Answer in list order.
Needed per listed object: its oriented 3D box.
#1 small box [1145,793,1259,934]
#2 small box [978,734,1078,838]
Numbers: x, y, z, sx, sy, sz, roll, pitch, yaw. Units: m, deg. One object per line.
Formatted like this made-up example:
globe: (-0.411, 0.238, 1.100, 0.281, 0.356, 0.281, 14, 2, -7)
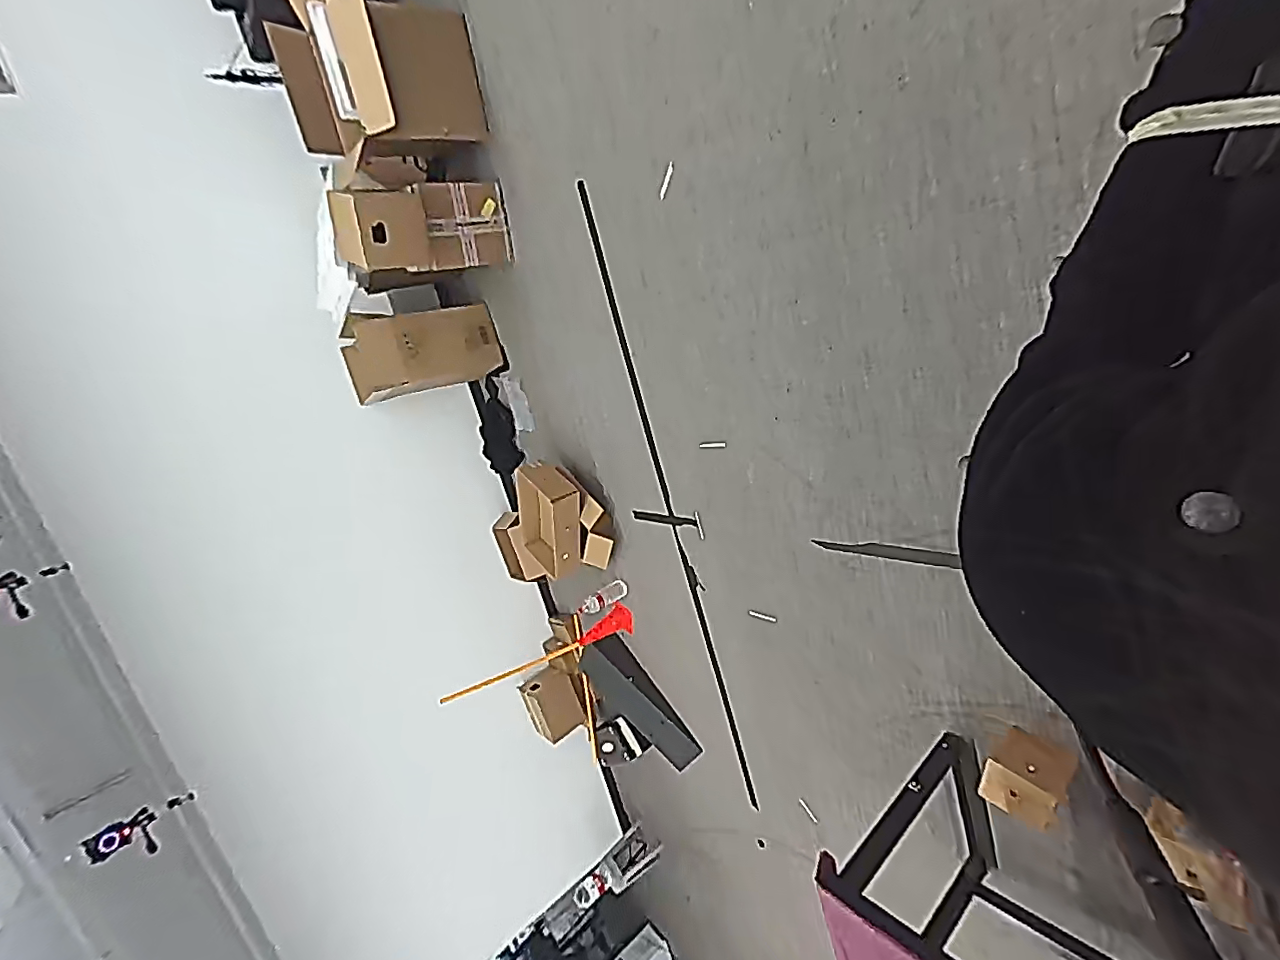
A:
small box: (1.342, 0.902, 1.290, 0.168, 0.176, 0.179, 1, 110, 54)
small box: (1.131, 0.879, 1.578, 0.179, 0.176, 0.168, 24, 128, 45)
